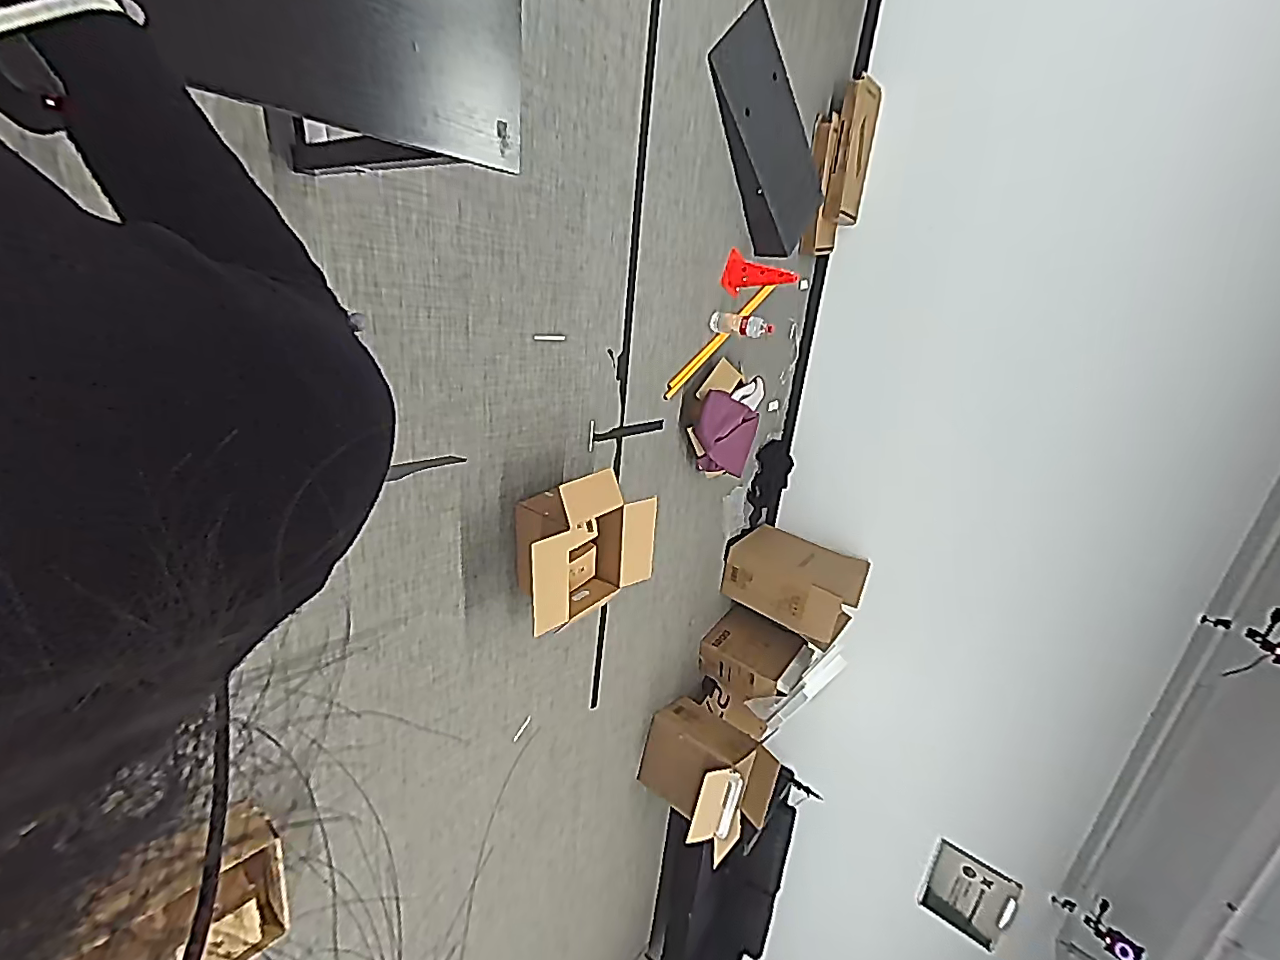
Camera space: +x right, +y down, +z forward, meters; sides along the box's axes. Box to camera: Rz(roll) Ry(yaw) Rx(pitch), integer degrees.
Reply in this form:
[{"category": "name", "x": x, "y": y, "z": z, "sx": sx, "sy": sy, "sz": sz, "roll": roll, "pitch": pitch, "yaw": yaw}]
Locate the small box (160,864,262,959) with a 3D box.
[{"category": "small box", "x": -1.165, "y": 1.210, "z": 1.472, "sx": 0.179, "sy": 0.176, "sz": 0.168, "roll": -14, "pitch": 116, "yaw": -49}]
